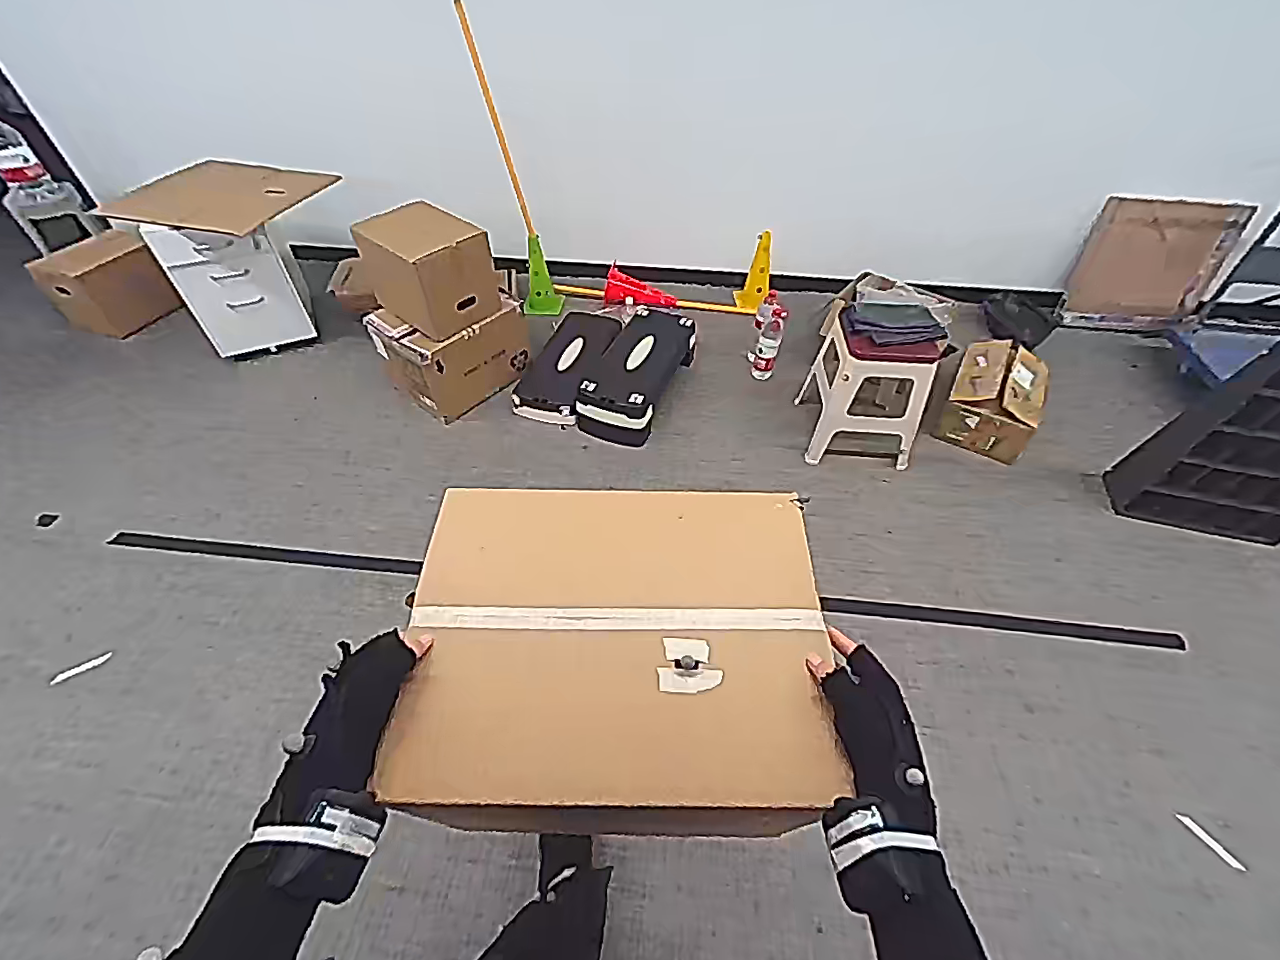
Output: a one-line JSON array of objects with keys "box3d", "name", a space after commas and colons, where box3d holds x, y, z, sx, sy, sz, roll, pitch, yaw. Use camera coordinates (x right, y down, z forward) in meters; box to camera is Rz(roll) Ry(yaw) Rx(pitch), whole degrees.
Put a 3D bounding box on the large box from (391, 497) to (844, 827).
[{"box3d": [-0.023, 0.234, 0.674, 0.408, 0.320, 0.320, 1, 54, -1], "name": "large box"}]
